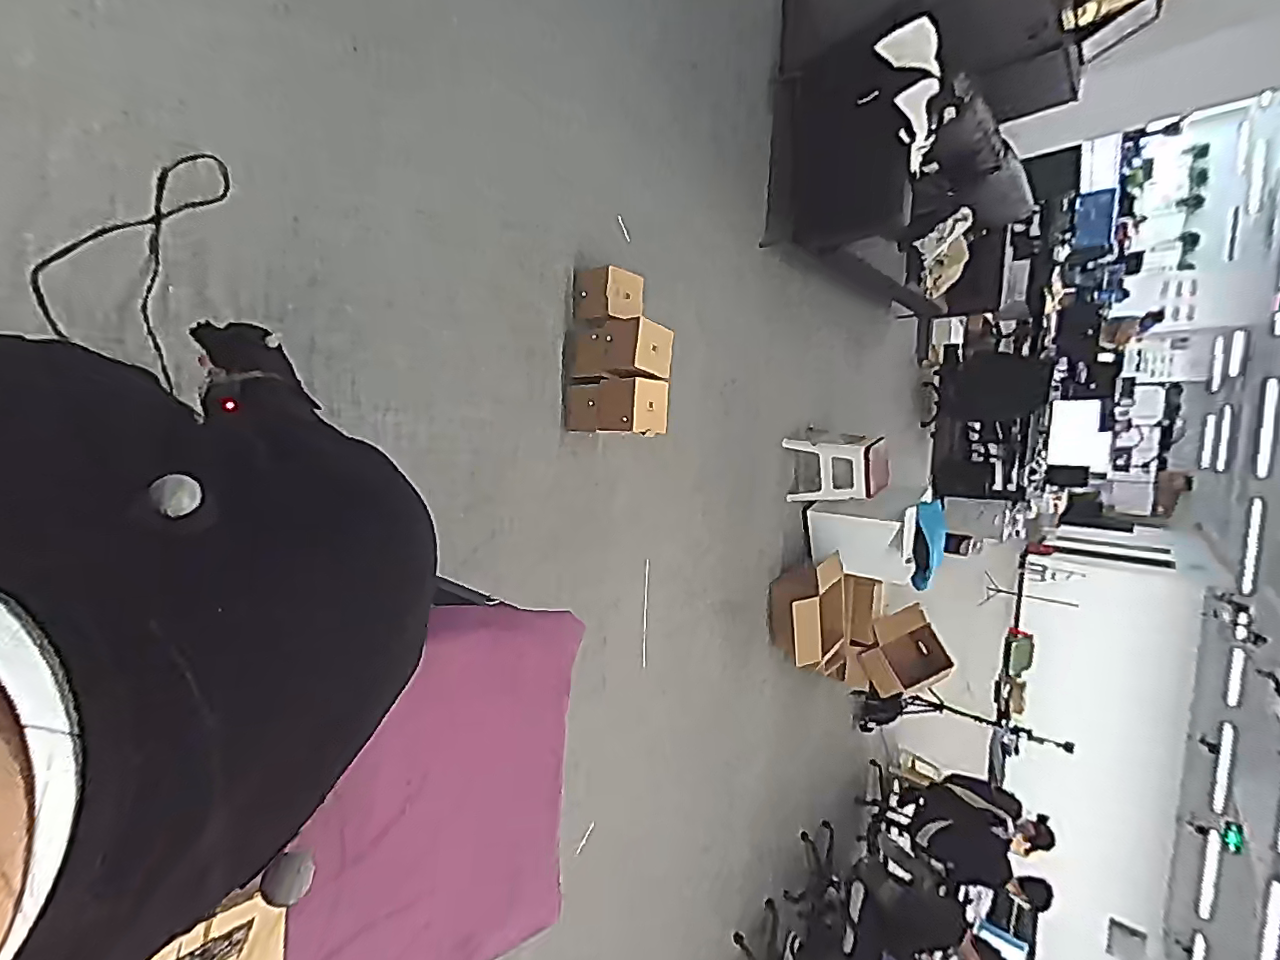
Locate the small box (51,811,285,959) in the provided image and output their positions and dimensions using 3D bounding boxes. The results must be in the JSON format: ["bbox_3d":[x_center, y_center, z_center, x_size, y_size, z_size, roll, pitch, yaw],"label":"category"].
[{"bbox_3d":[-0.496,0.487,0.568,0.168,0.176,0.179,2,94,-48],"label":"small box"}]
